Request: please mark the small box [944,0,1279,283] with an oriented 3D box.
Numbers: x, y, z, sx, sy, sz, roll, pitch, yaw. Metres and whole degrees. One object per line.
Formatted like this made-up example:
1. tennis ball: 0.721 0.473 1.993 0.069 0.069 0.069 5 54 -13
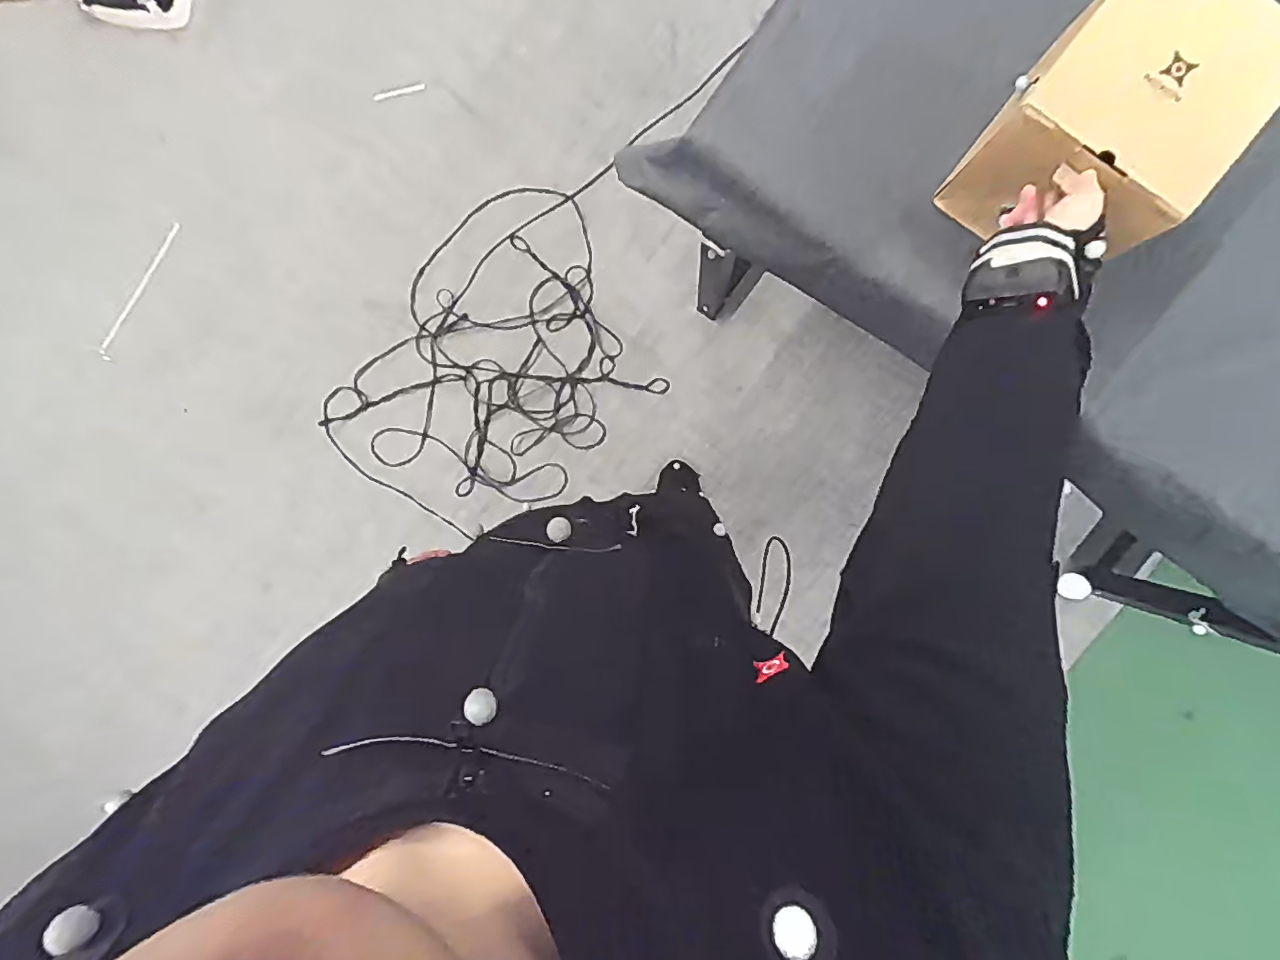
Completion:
1. small box: 0.447 -0.332 0.532 0.168 0.176 0.179 37 94 2
